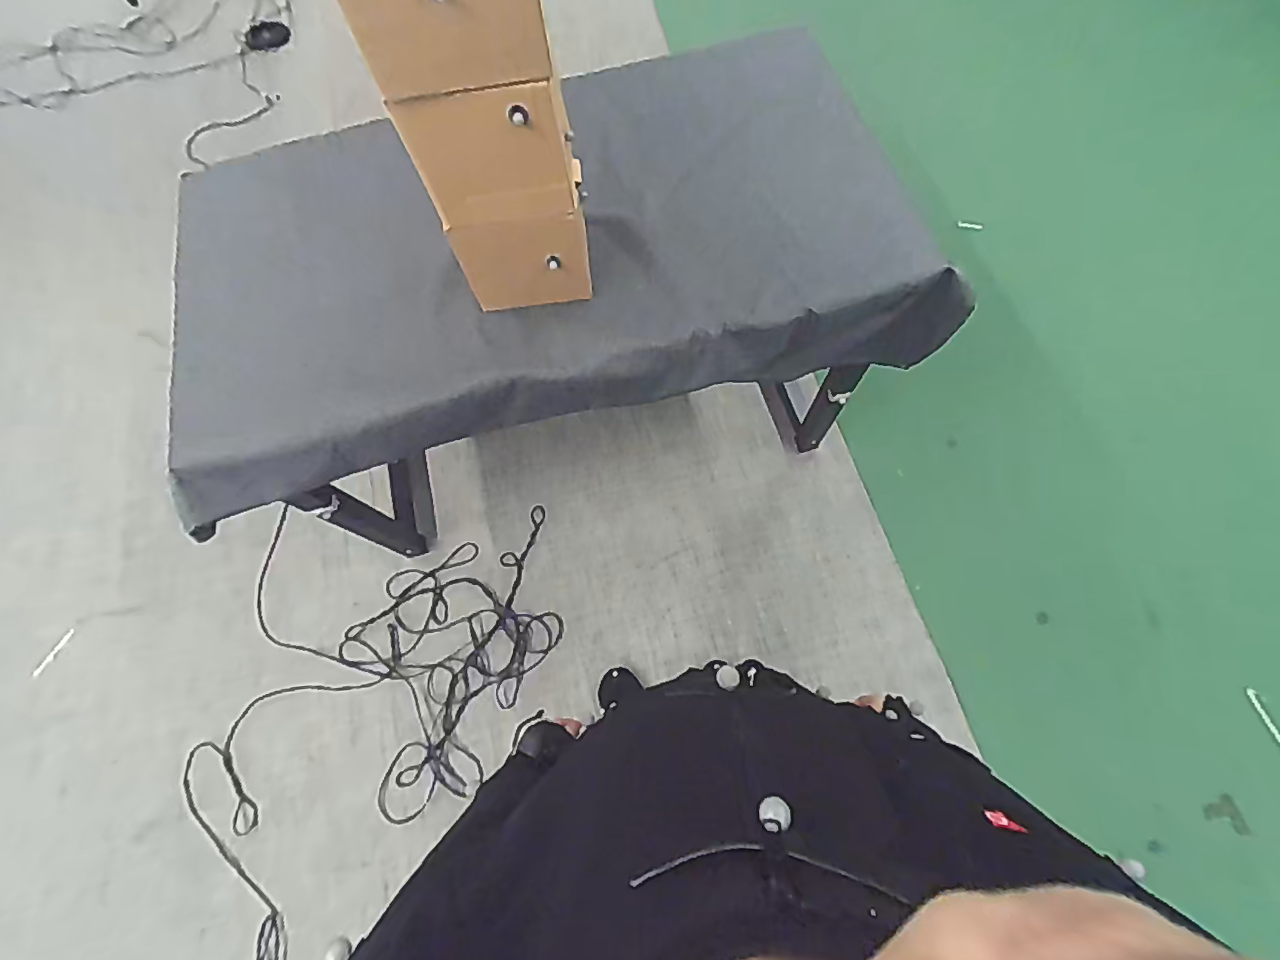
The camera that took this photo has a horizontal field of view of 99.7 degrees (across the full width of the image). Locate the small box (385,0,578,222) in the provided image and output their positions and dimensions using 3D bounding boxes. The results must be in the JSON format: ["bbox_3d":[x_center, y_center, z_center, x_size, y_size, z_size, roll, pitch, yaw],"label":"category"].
[{"bbox_3d":[-0.178,-0.439,0.653,0.179,0.176,0.168,-7,68,0],"label":"small box"}]

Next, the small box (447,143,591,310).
[{"bbox_3d":[-0.169,-0.377,0.803,0.179,0.176,0.168,-8,68,1],"label":"small box"}]
